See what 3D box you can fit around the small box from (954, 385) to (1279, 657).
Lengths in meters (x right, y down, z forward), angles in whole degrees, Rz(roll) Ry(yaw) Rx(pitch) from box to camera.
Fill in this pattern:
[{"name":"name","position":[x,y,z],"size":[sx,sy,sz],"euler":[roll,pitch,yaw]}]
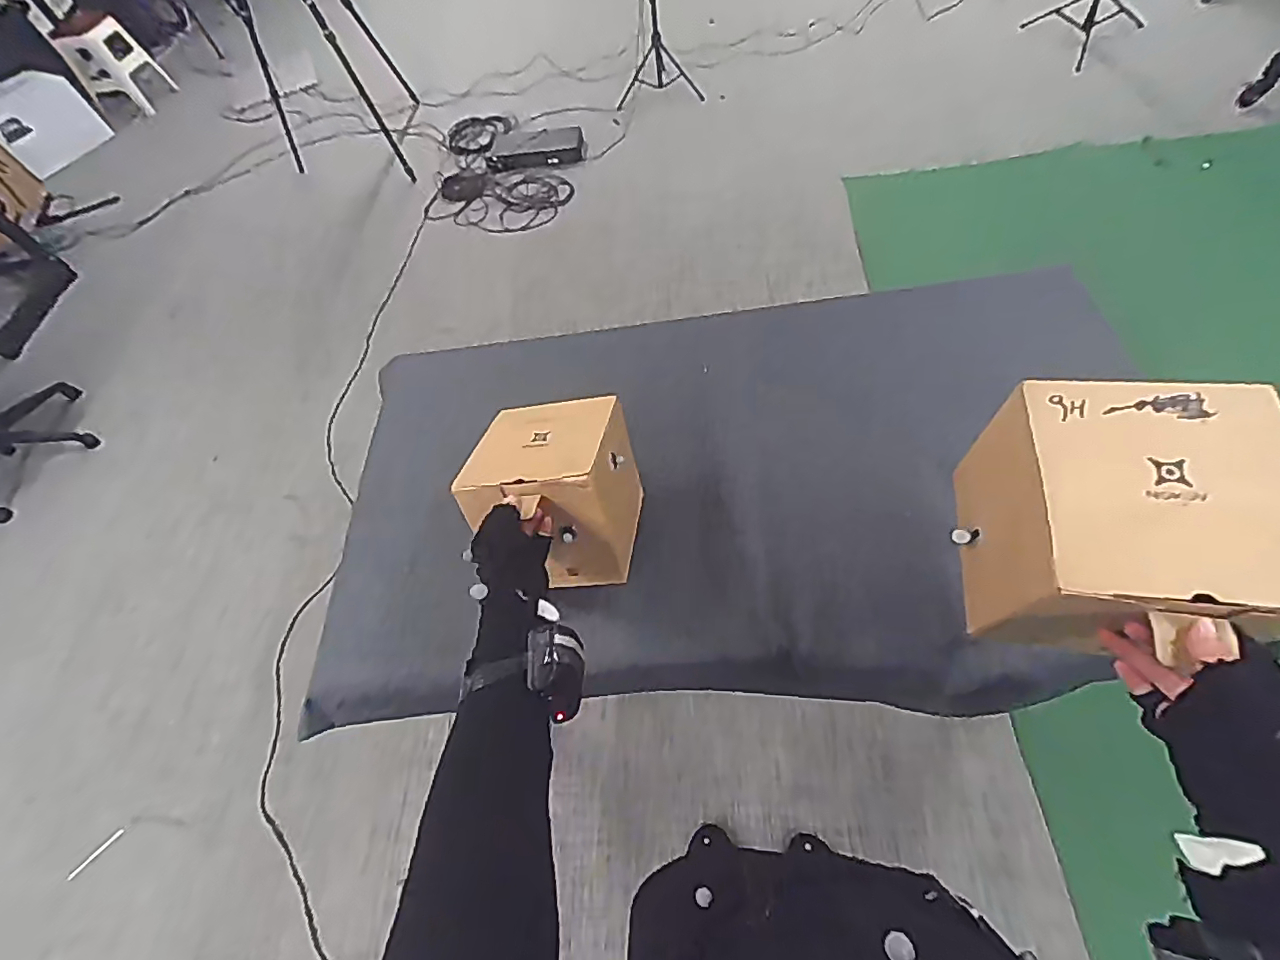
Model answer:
[{"name":"small box","position":[0.382,0.042,0.449],"size":[0.168,0.176,0.179],"euler":[4,65,12]}]

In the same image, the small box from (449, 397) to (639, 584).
[{"name":"small box","position":[-0.103,0.018,0.682],"size":[0.168,0.176,0.179],"euler":[-5,35,13]}]
